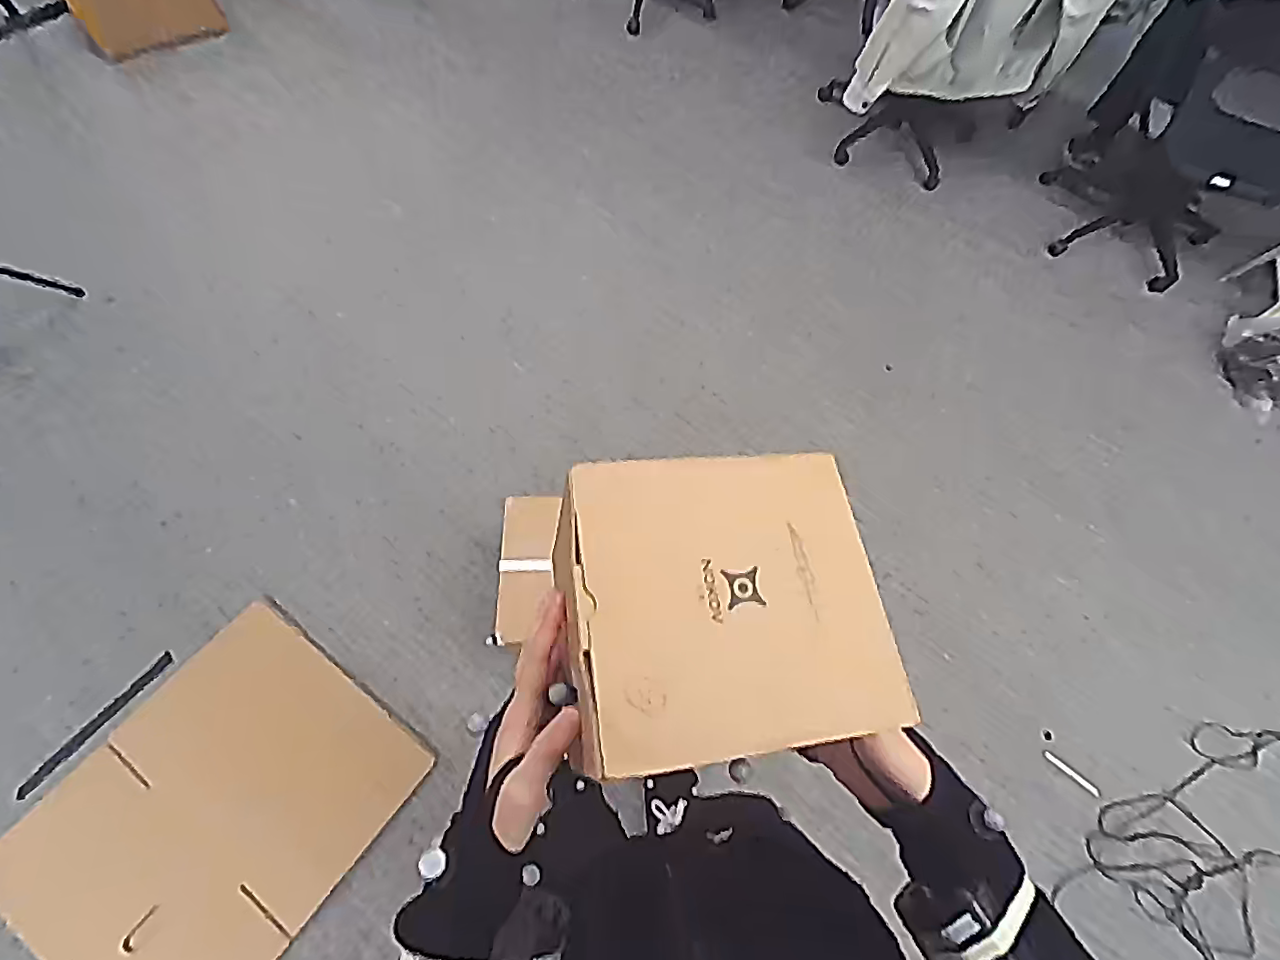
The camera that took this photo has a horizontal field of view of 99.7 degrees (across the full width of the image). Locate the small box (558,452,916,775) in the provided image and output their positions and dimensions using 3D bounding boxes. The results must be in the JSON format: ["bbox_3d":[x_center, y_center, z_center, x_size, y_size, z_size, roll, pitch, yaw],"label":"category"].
[{"bbox_3d":[0.038,0.094,0.370,0.179,0.176,0.168,-3,66,-14],"label":"small box"}]
